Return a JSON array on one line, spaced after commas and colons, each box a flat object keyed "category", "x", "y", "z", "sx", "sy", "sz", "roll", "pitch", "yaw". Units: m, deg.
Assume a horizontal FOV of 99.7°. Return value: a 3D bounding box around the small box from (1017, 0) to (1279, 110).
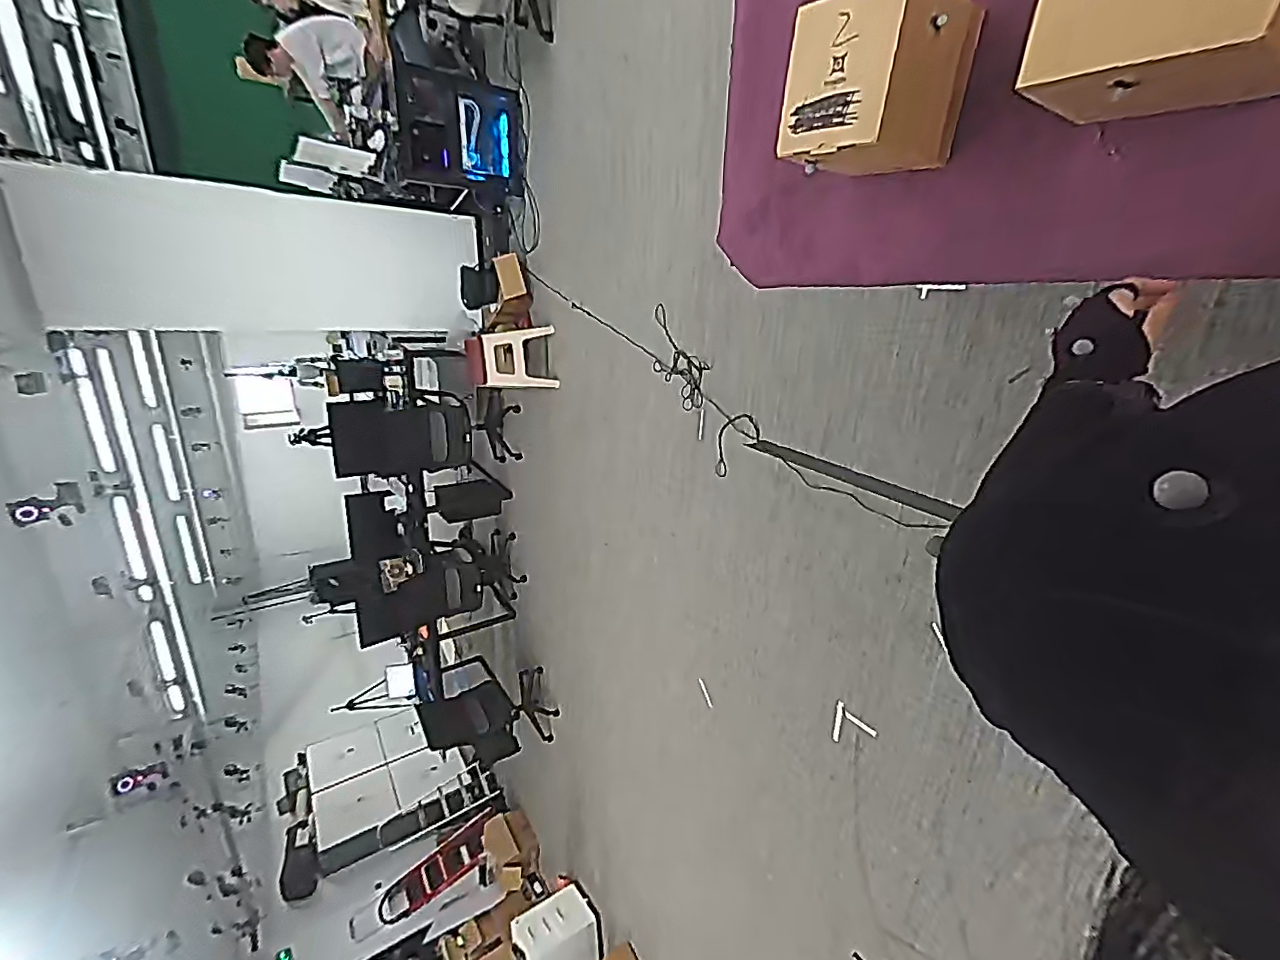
[{"category": "small box", "x": 0.488, "y": -0.450, "z": 0.478, "sx": 0.179, "sy": 0.176, "sz": 0.168, "roll": 31, "pitch": 125, "yaw": 50}]
